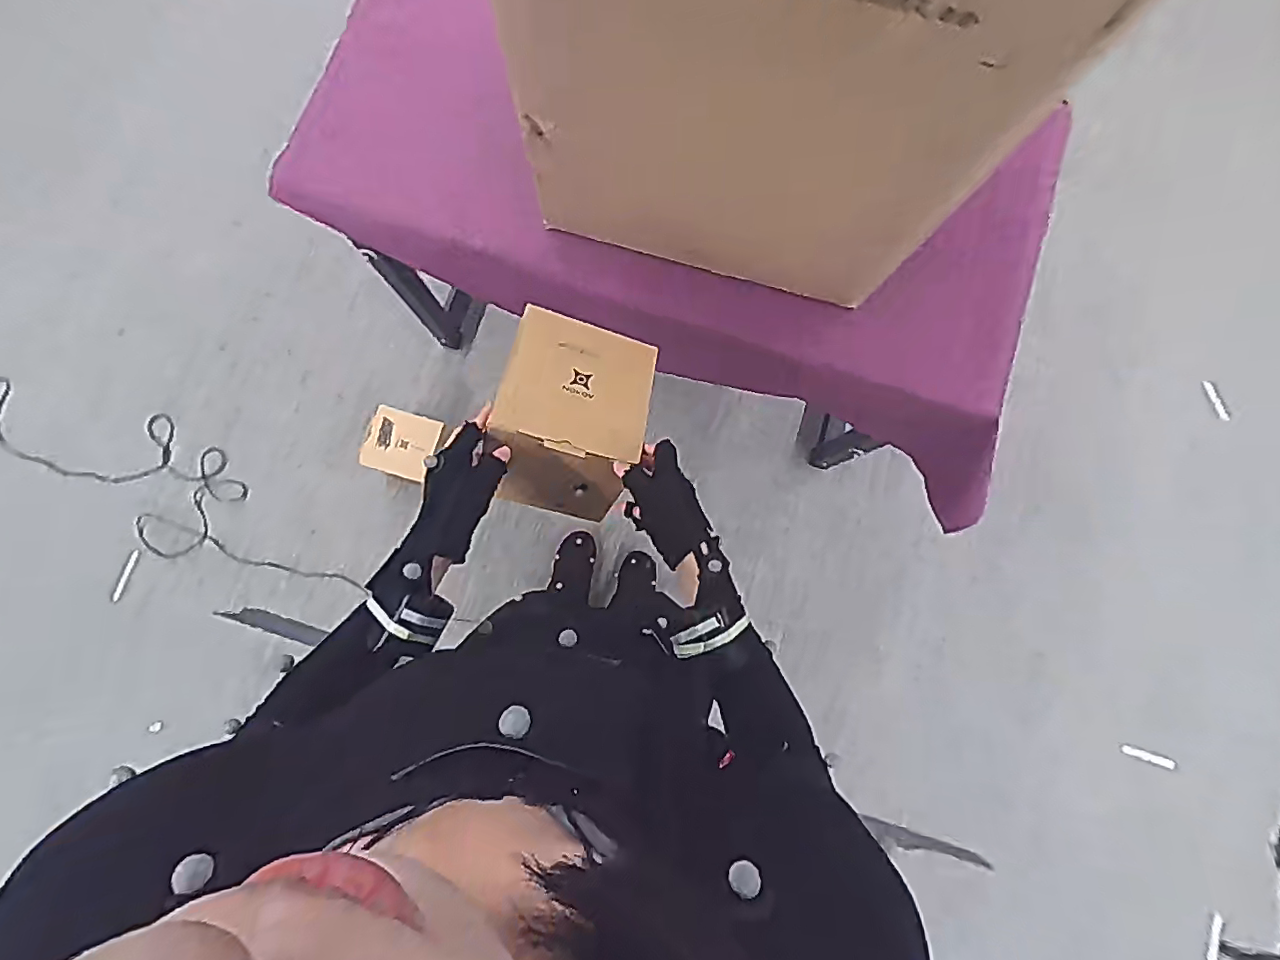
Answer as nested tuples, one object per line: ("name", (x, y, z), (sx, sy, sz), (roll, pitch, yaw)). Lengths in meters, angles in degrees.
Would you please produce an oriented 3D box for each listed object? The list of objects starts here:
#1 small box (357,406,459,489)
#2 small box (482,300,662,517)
("small box", (-0.616, -0.079, 1.455), (0.179, 0.176, 0.168), (16, 82, -1))
("small box", (-0.087, -0.074, 0.657), (0.168, 0.176, 0.179), (17, 59, -13))
